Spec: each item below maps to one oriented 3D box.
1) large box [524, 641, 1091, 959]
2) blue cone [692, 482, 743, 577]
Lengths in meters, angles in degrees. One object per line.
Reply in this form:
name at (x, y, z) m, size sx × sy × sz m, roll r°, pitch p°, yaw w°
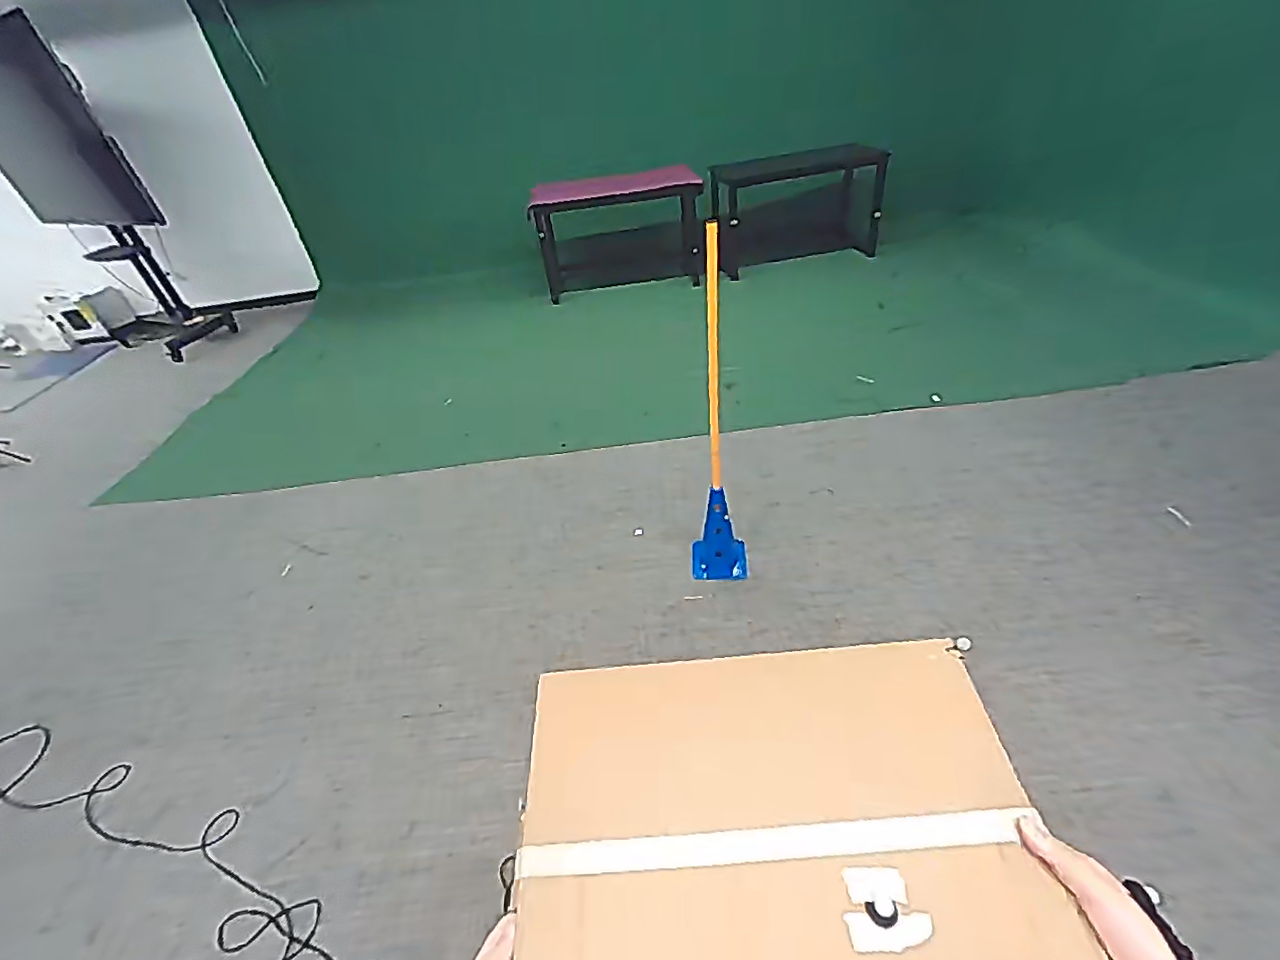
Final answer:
large box at (0.120, 0.393, 0.540) m, size 0.408 × 0.320 × 0.320 m, roll -6°, pitch 46°, yaw 2°
blue cone at (0.276, 0.171, 1.956) m, size 0.193 × 0.380 × 0.192 m, roll -1°, pitch 38°, yaw 8°
